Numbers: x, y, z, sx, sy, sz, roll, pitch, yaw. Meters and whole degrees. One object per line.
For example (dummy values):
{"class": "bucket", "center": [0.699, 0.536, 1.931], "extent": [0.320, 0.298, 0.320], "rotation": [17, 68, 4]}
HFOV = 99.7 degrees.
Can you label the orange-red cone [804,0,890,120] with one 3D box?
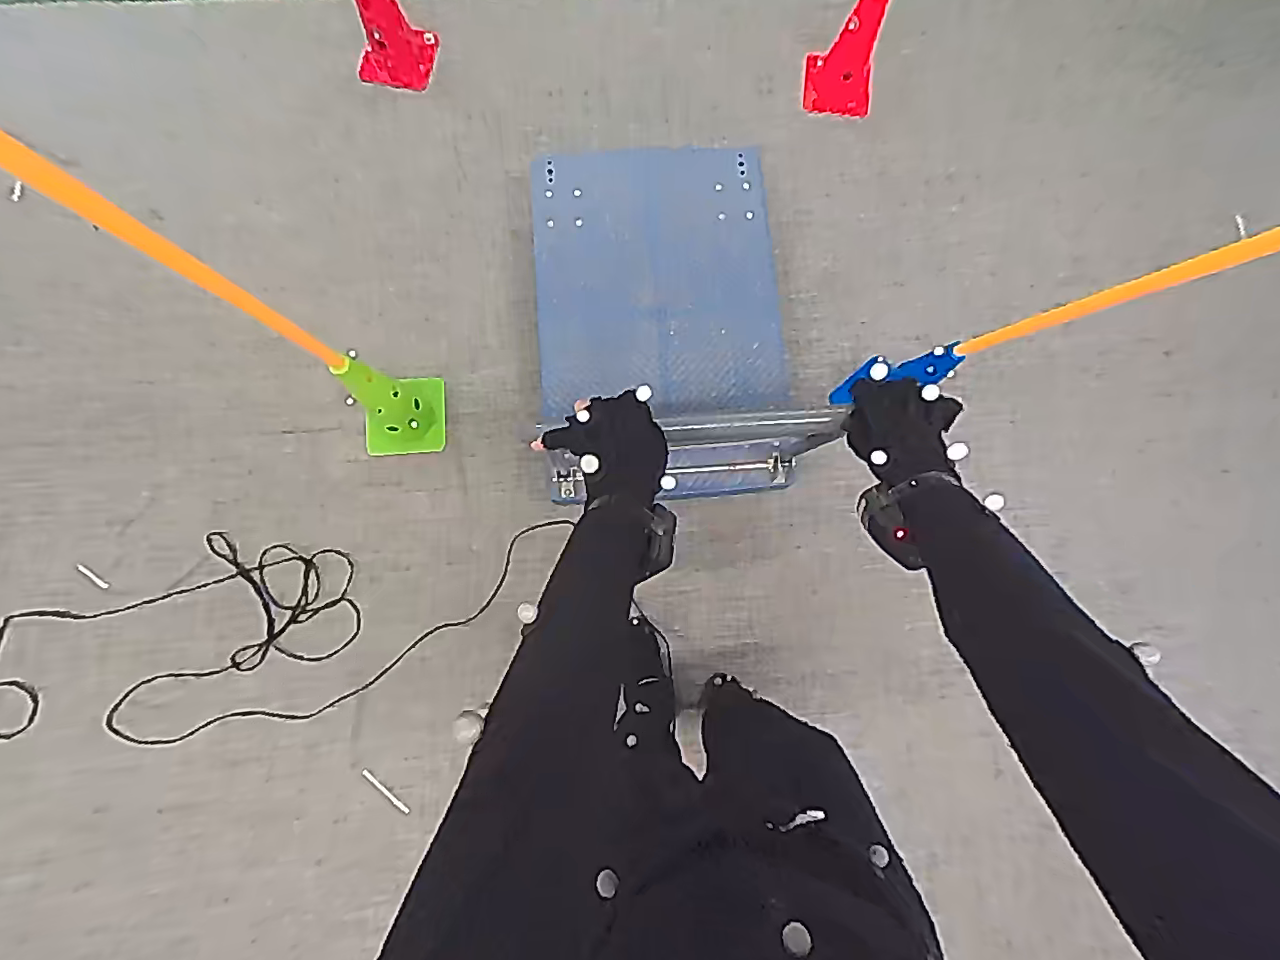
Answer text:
{"class": "orange-red cone", "center": [0.600, -1.202, 1.452], "extent": [0.198, 0.360, 0.199], "rotation": [8, 81, 0]}
